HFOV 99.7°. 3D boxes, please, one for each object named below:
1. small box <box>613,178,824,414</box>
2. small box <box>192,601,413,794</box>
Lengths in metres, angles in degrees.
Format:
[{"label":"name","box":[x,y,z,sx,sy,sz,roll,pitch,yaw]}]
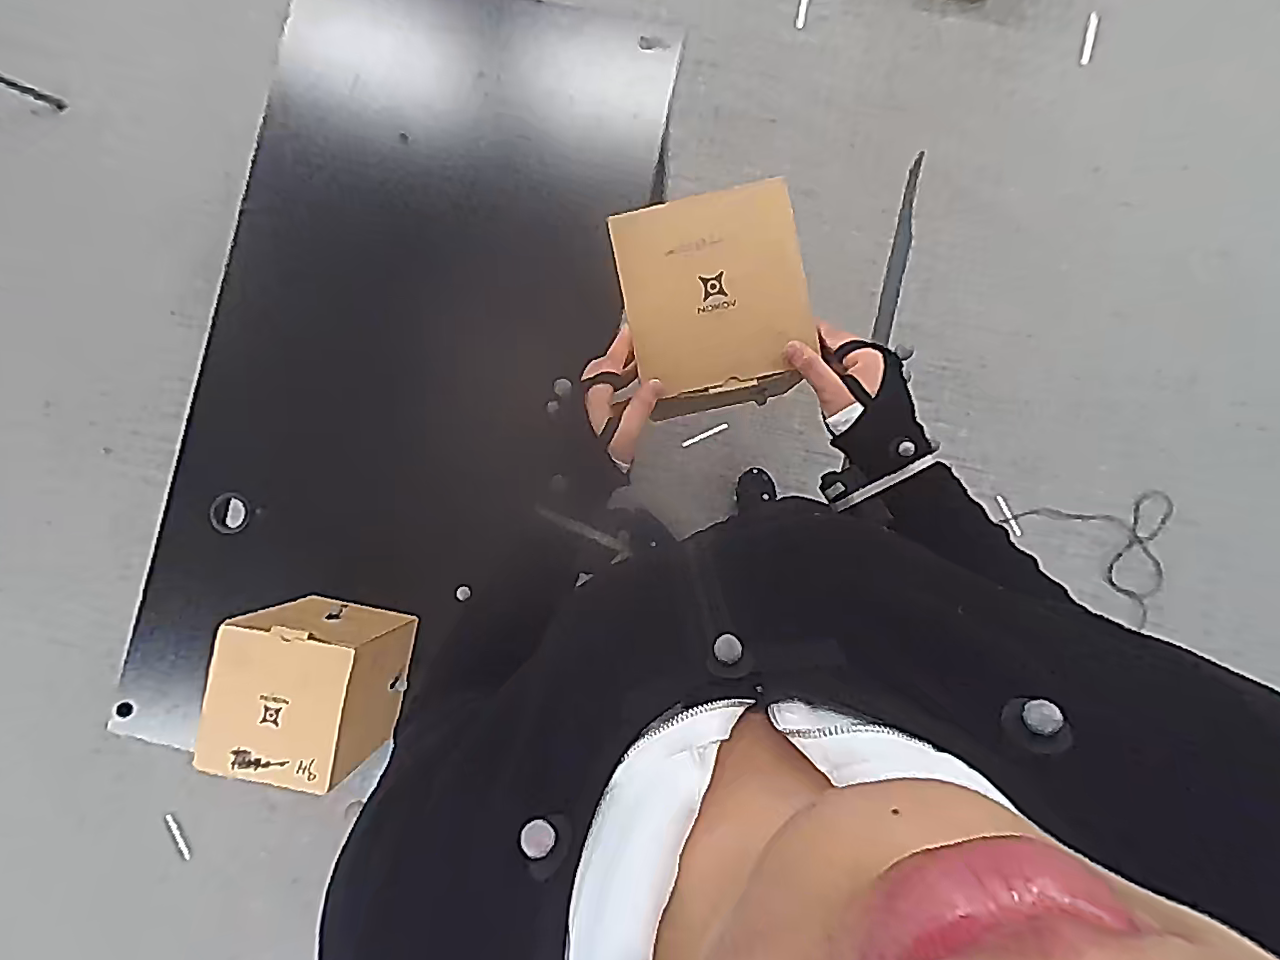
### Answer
[{"label":"small box","box":[0.075,-0.171,0.566,0.168,0.176,0.179,-12,89,2]},{"label":"small box","box":[-0.420,0.266,0.705,0.168,0.176,0.179,10,87,2]}]
